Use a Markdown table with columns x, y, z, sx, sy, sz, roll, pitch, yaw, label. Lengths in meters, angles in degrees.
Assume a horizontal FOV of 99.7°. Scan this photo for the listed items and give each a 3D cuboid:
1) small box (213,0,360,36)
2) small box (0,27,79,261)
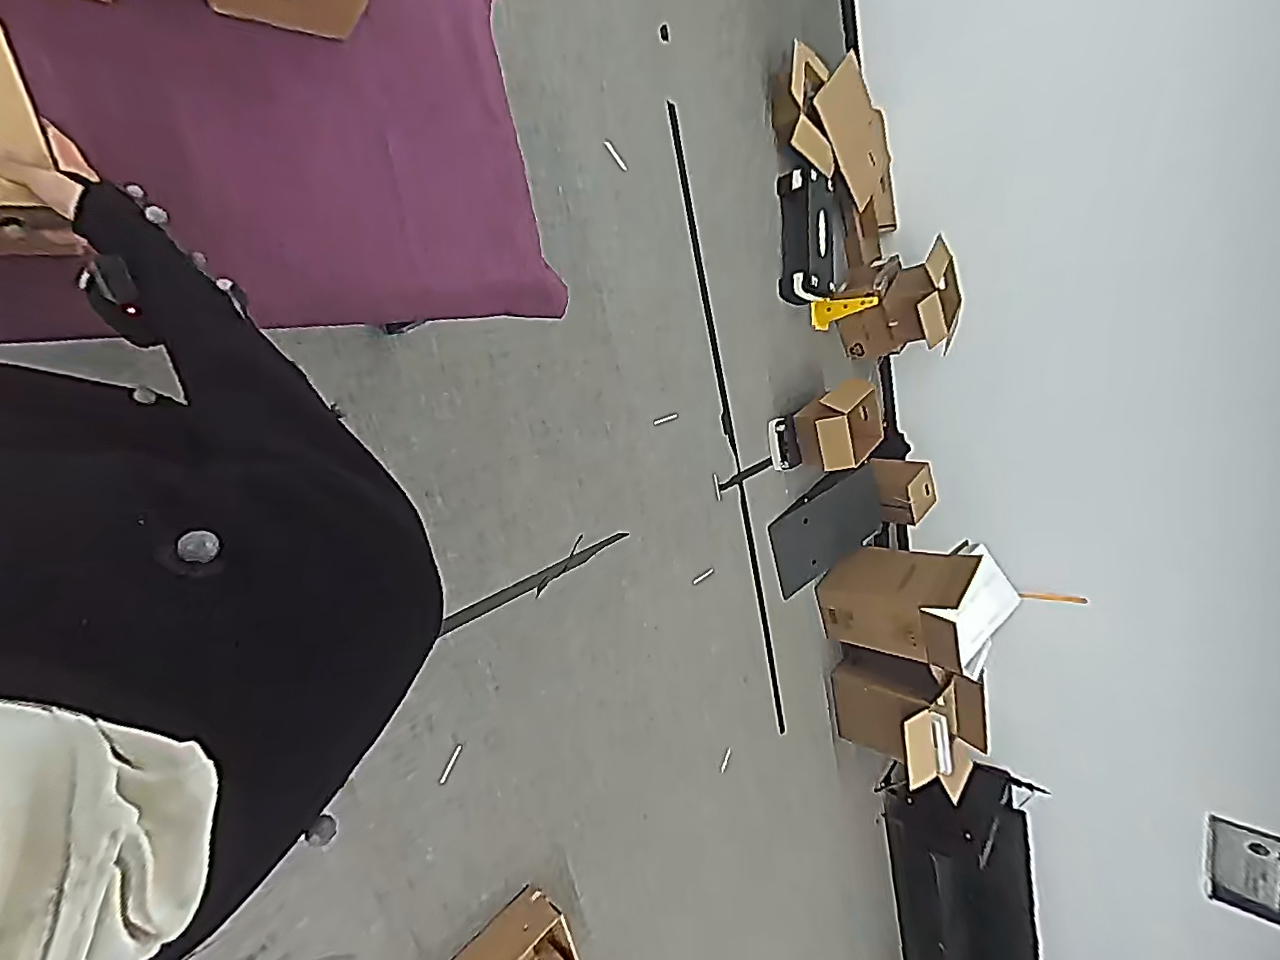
| x | y | z | sx | sy | sz | roll | pitch | yaw | label |
| --- | --- | --- | --- | --- | --- | --- | --- | --- | --- |
| -0.473 | -0.725 | 0.701 | 0.179 | 0.176 | 0.168 | -23 | 110 | -40 | small box |
| -0.678 | -0.313 | 0.509 | 0.179 | 0.176 | 0.168 | -23 | 107 | -40 | small box |
